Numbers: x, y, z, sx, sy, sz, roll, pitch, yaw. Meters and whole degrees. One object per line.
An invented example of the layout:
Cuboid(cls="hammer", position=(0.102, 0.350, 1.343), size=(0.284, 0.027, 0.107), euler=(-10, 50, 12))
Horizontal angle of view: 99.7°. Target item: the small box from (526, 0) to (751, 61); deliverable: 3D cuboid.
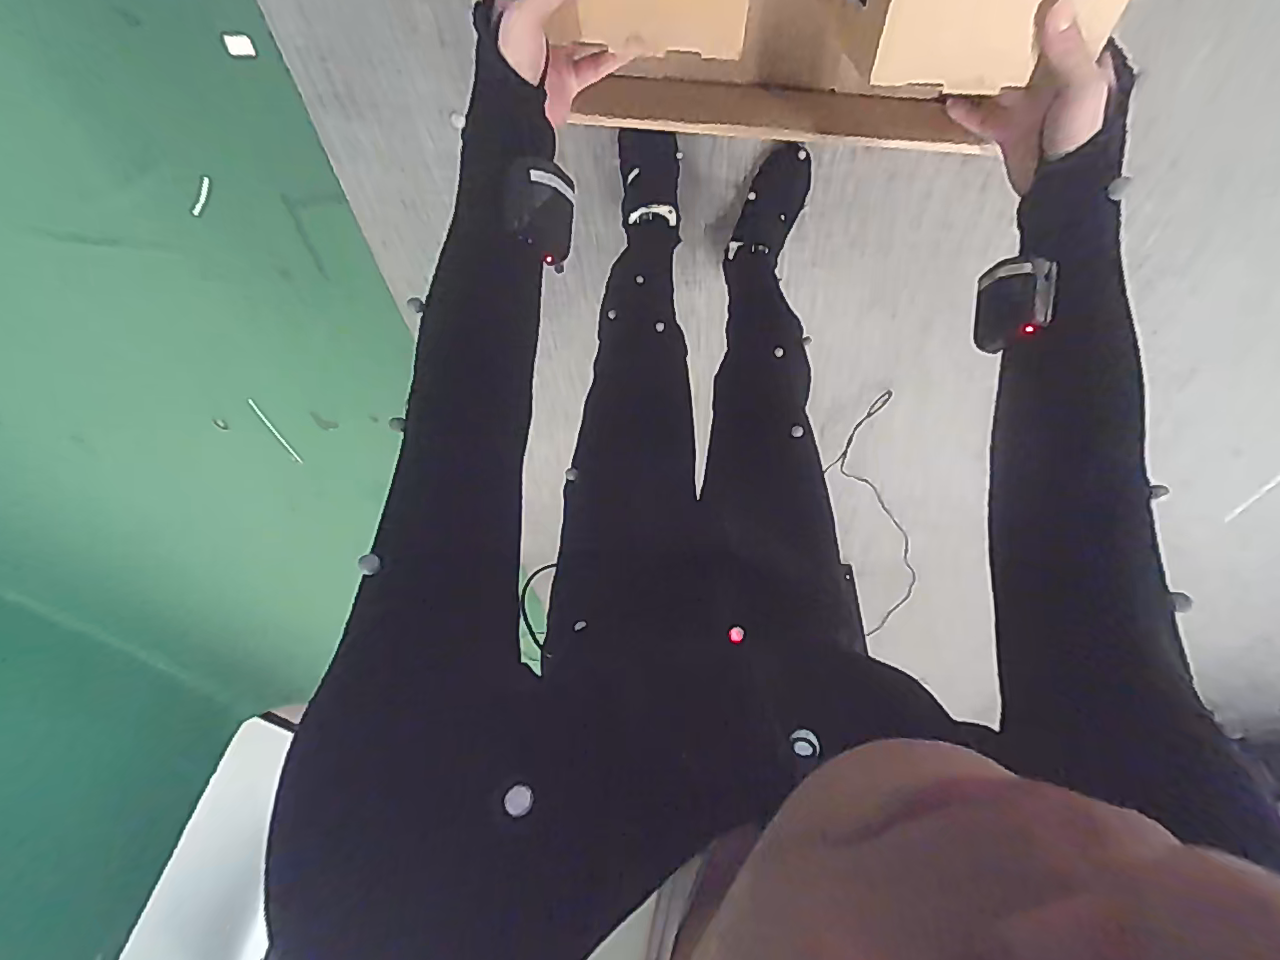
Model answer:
Cuboid(cls="small box", position=(0.007, -0.444, 0.398), size=(0.168, 0.176, 0.179), euler=(5, 141, 1))

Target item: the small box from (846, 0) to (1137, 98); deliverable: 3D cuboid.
Cuboid(cls="small box", position=(0.265, -0.414, 0.399), size=(0.168, 0.176, 0.179), euler=(4, 139, 2))
